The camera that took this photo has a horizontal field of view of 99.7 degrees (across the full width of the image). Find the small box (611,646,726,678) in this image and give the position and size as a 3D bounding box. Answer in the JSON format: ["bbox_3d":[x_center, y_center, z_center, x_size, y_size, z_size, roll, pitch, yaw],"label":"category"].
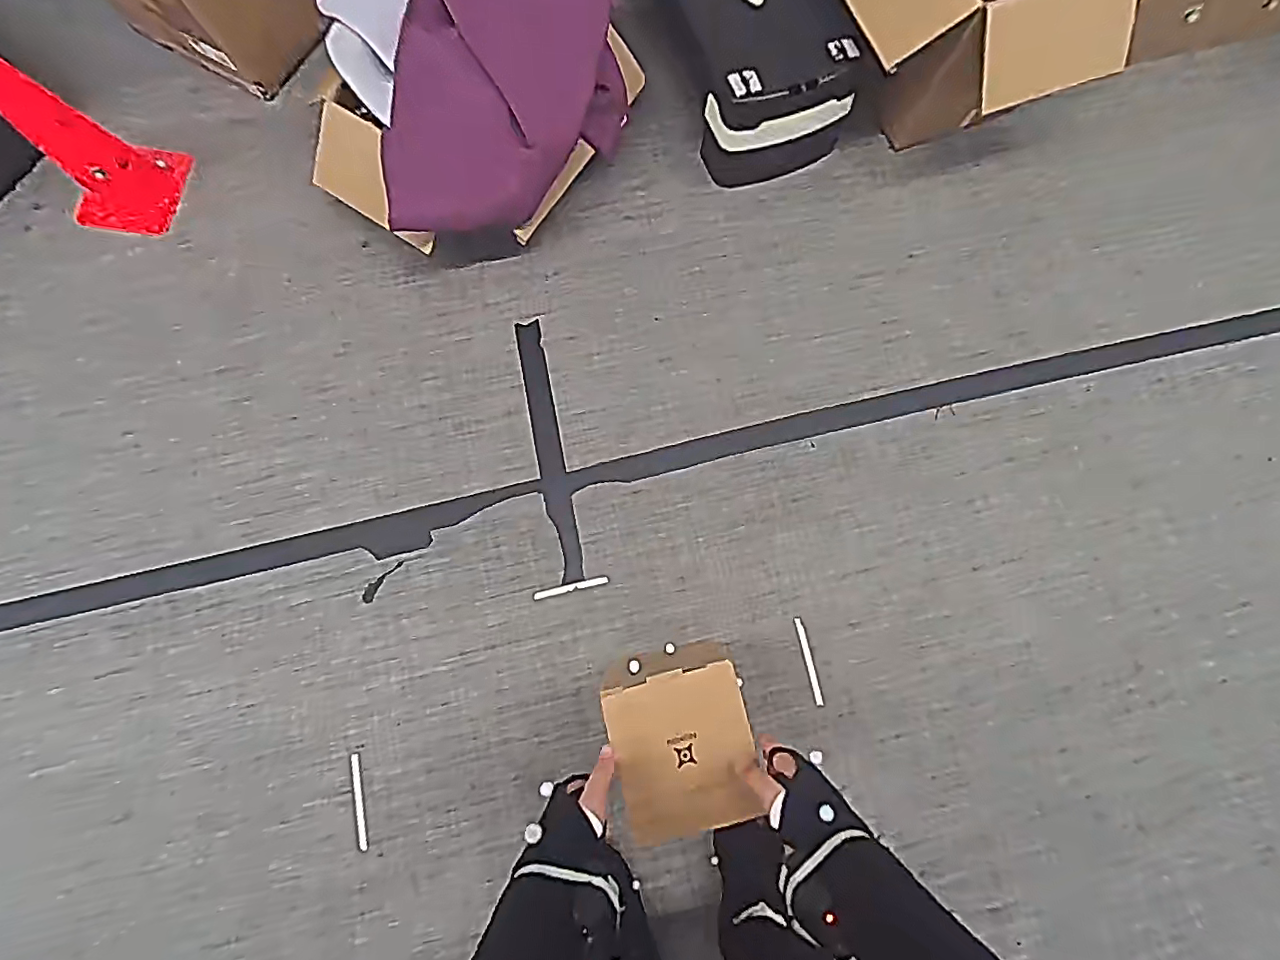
[{"bbox_3d":[0.054,0.368,0.862,0.179,0.176,0.168,-9,79,-4],"label":"small box"}]

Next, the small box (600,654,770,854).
[{"bbox_3d":[0.049,0.335,0.703,0.168,0.176,0.179,-14,80,-2],"label":"small box"}]
